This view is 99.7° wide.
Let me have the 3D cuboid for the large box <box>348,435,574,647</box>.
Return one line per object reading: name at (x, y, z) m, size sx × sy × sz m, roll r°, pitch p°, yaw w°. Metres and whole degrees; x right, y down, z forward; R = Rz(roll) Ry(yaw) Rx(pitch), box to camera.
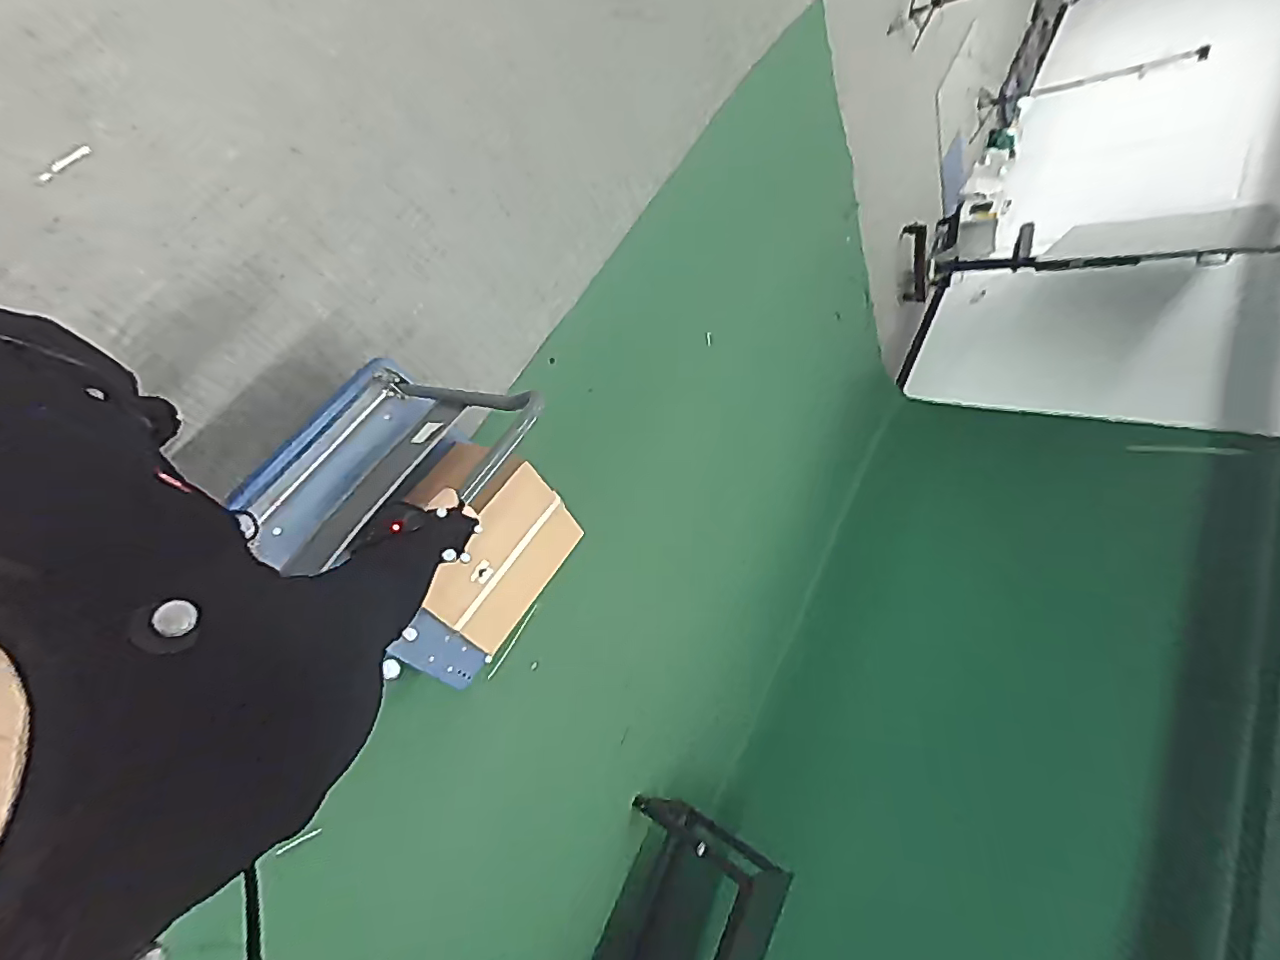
large box at (-0.457, 0.144, 1.422) m, size 0.408 × 0.320 × 0.320 m, roll -54°, pitch 135°, yaw -23°
